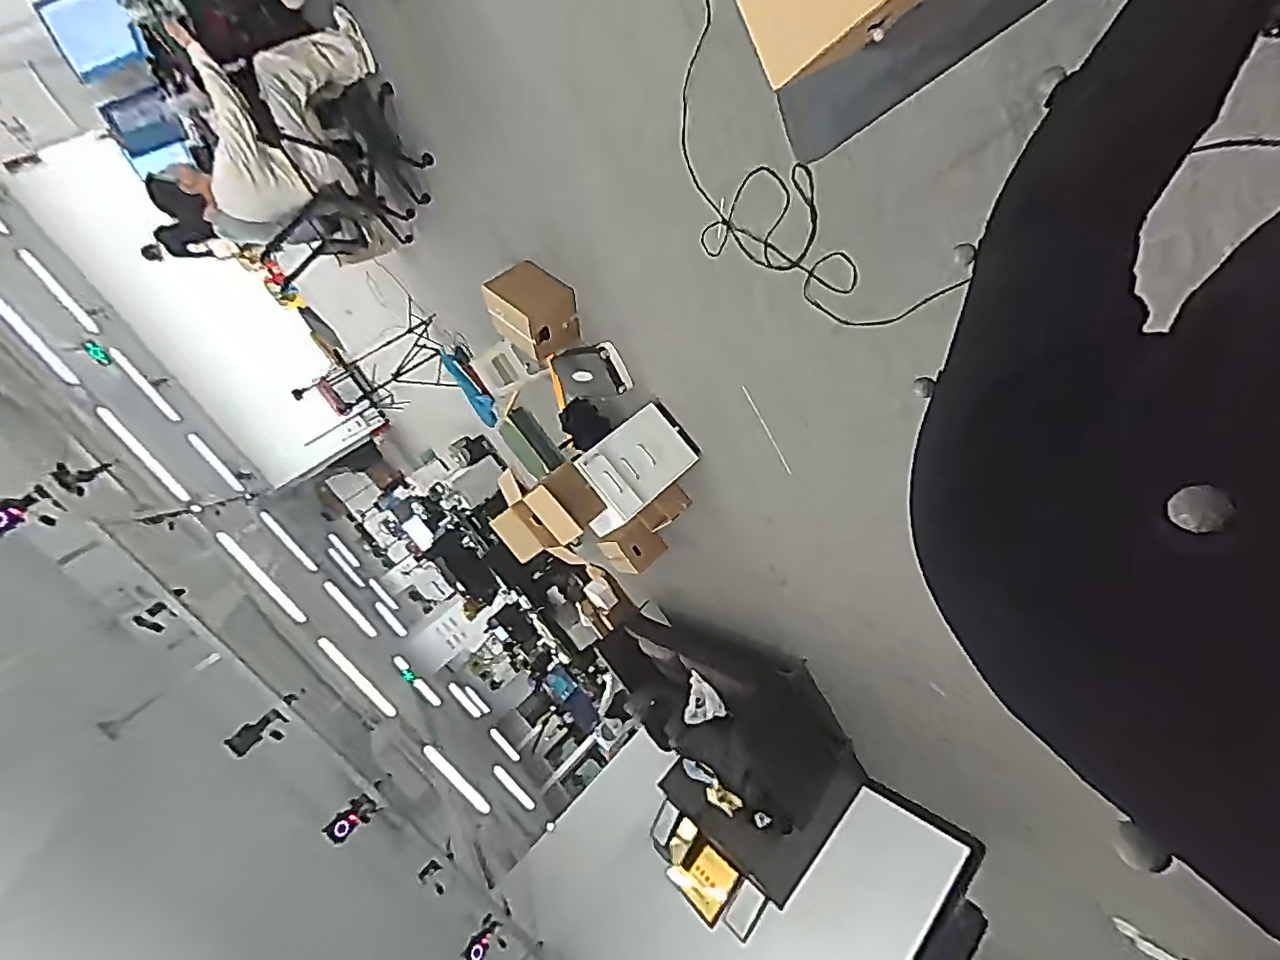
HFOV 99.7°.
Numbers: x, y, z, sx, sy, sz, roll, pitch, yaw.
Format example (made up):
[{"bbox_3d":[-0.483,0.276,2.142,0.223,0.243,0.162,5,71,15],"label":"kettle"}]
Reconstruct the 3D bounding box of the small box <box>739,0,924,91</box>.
[{"bbox_3d":[0.204,-0.520,0.502,0.168,0.176,0.179,58,157,-19],"label":"small box"}]
